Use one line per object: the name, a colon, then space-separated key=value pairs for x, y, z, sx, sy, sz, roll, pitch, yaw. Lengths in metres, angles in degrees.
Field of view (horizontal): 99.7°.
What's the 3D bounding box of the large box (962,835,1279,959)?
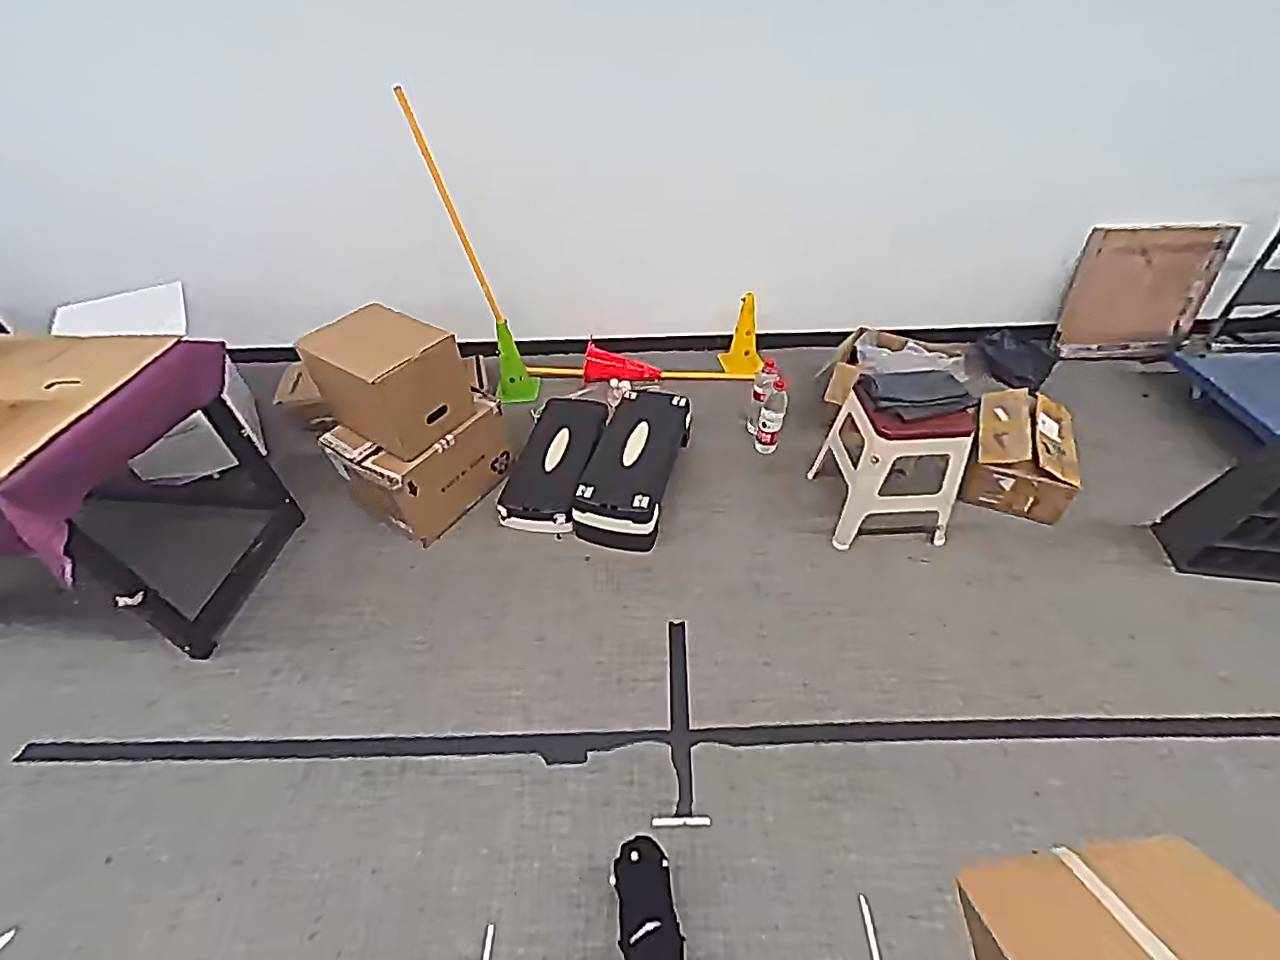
large box: x=0.634 y=0.690 z=0.589 sx=0.320 sy=0.320 sz=0.408 roll=-14 pitch=2 yaw=7
